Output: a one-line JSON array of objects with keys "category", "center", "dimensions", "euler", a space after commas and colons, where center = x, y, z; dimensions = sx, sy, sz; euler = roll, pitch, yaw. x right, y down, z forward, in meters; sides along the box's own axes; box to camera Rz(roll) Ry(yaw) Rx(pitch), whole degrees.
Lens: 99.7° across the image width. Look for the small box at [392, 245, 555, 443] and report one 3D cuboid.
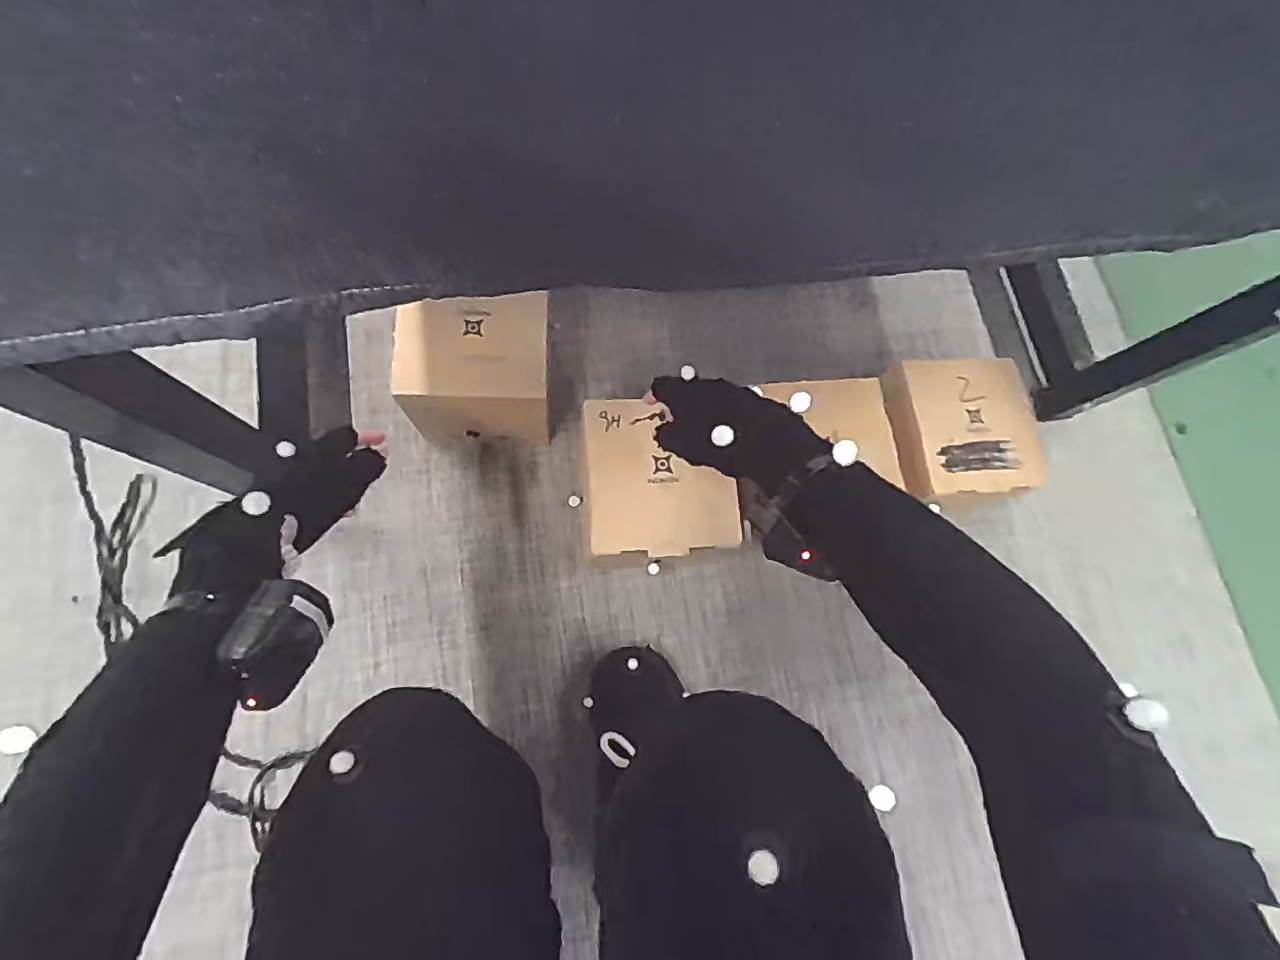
[{"category": "small box", "center": [-0.192, -0.159, 0.674], "dimensions": [0.168, 0.176, 0.179], "euler": [1, 75, -8]}]
